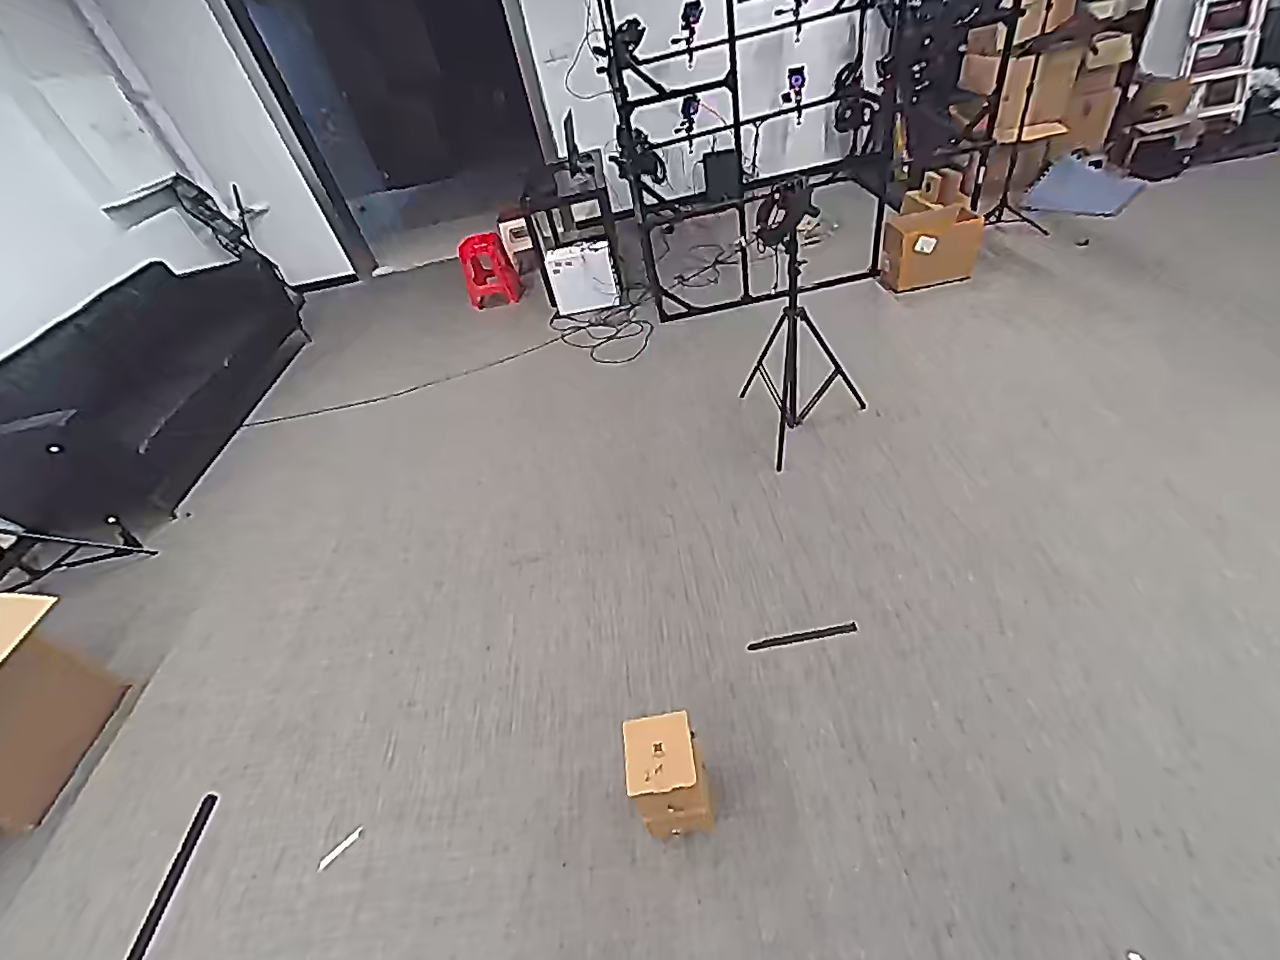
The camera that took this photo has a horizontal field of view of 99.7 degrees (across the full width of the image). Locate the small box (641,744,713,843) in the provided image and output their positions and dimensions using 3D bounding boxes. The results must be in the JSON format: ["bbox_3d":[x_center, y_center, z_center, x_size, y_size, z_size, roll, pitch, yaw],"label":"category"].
[{"bbox_3d":[0.093,0.831,1.434,0.168,0.176,0.179,-12,41,5],"label":"small box"}]

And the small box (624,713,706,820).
[{"bbox_3d":[0.060,0.706,1.332,0.168,0.176,0.179,-13,42,5],"label":"small box"}]
